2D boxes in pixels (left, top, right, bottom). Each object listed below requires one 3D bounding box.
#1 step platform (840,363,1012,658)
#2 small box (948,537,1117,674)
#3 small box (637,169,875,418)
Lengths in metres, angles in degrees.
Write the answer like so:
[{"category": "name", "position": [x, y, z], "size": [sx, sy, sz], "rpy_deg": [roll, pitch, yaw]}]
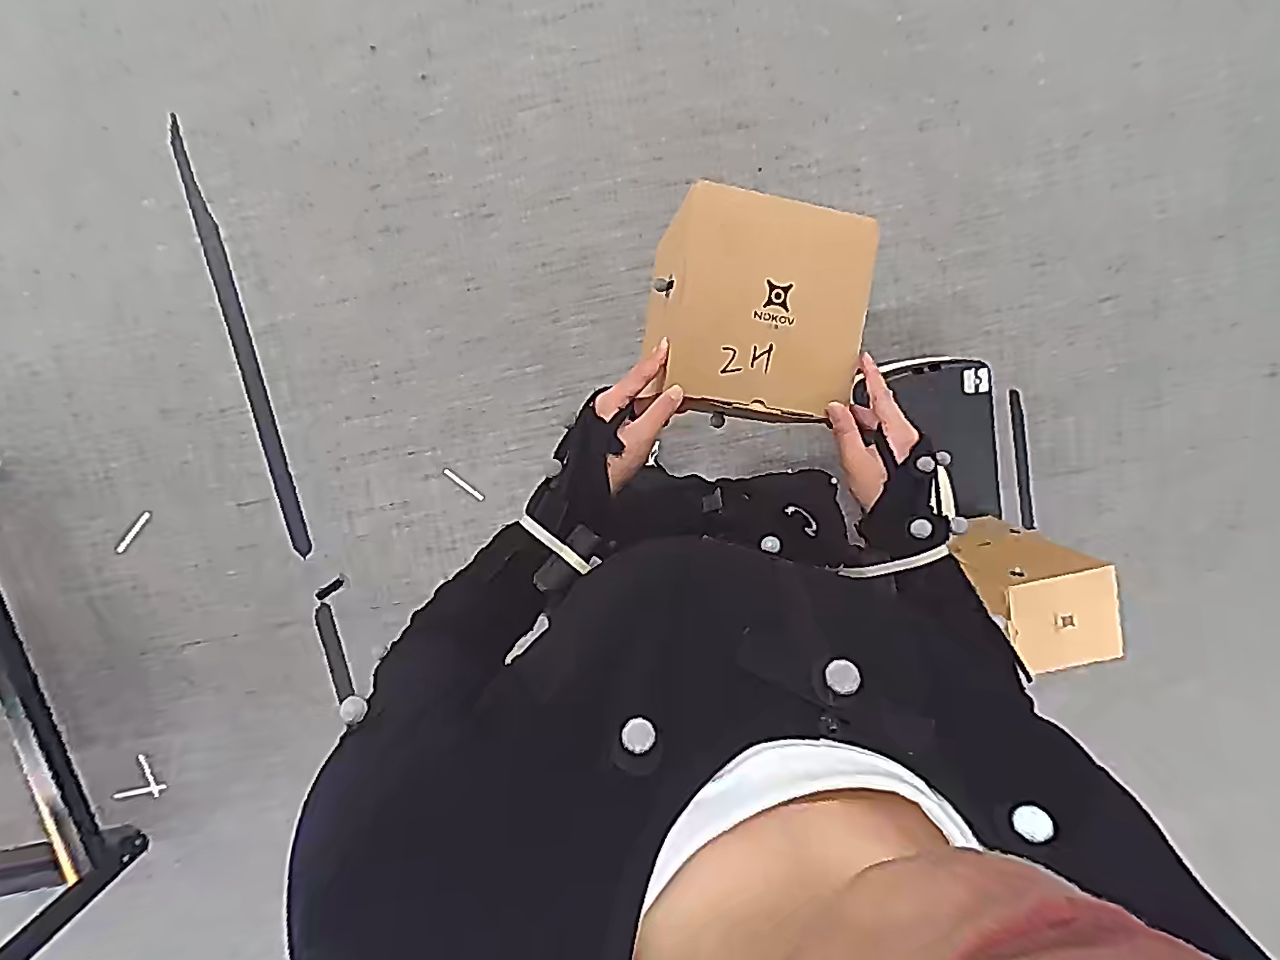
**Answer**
[{"category": "step platform", "position": [0.682, 0.073, 1.279], "size": [0.286, 0.204, 0.684], "rpy_deg": [-11, 99, 1]}, {"category": "small box", "position": [0.687, 0.213, 0.962], "size": [0.179, 0.176, 0.168], "rpy_deg": [-13, 100, 3]}, {"category": "small box", "position": [0.096, -0.160, 0.528], "size": [0.168, 0.176, 0.179], "rpy_deg": [8, 94, -9]}]
